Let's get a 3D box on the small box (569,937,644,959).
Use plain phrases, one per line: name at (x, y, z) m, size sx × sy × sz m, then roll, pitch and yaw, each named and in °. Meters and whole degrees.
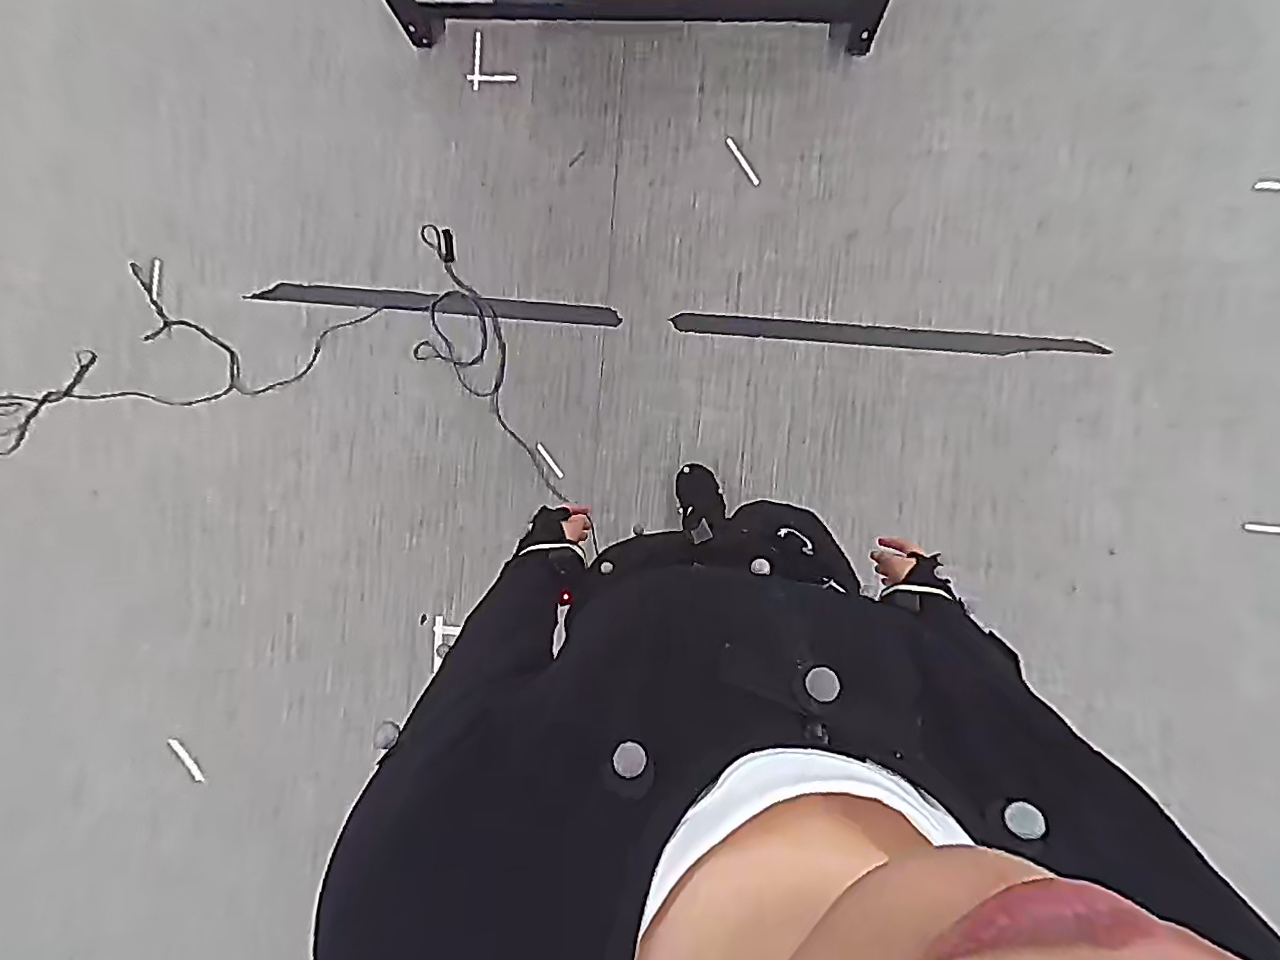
small box at (-0.083, 1.116, 1.124) m, size 0.168 × 0.176 × 0.179 m, roll 6°, pitch 90°, yaw 4°
